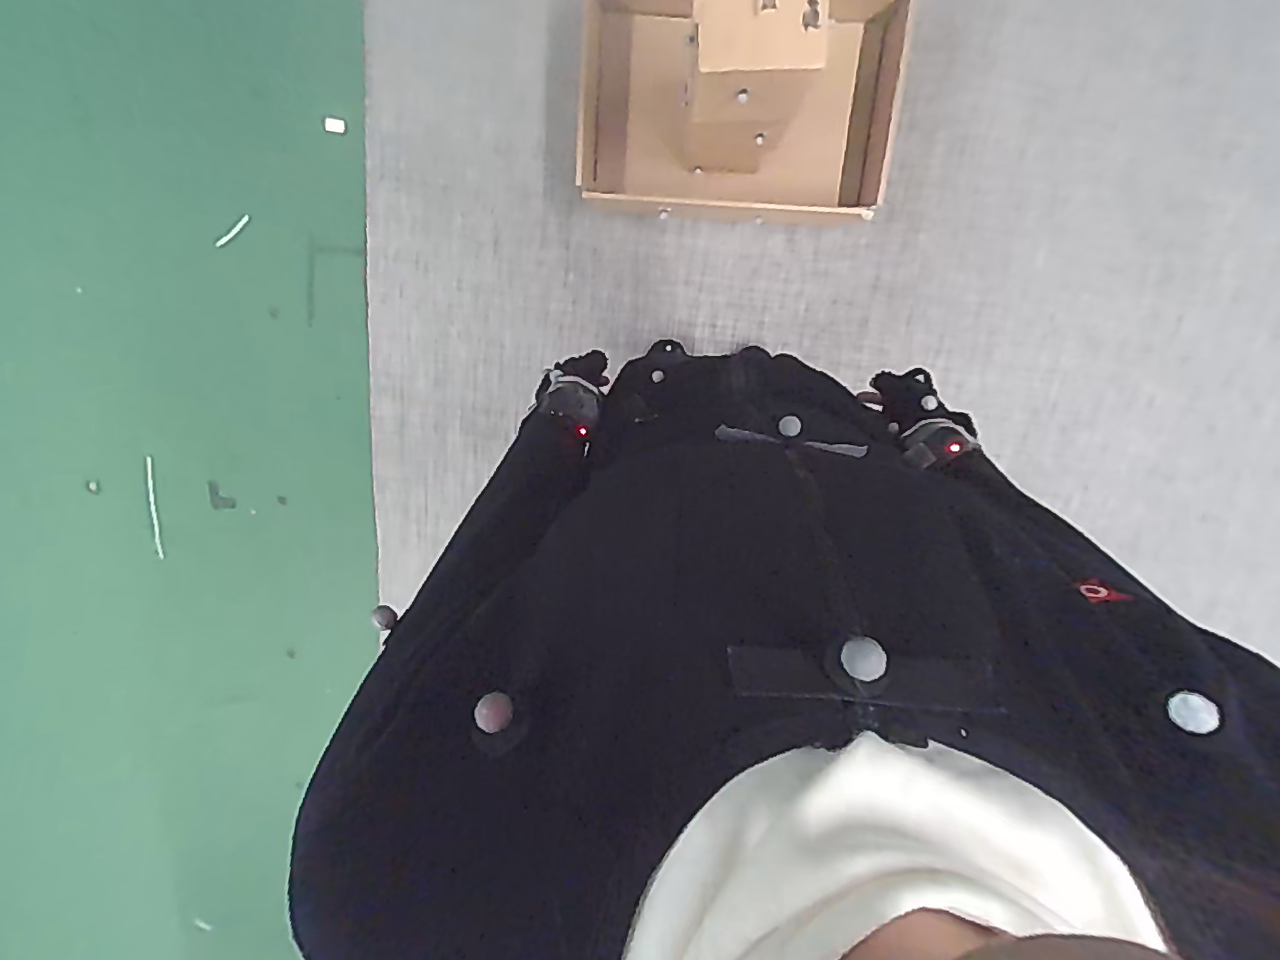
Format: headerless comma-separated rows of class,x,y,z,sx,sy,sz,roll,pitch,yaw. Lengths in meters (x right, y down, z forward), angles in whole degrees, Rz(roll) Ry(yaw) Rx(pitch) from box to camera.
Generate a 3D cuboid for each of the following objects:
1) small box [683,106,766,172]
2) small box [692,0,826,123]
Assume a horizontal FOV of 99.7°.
small box,0.178,-0.753,1.112,0.168,0.176,0.179,4,104,2
small box,0.167,-0.658,0.804,0.179,0.176,0.168,-3,102,3
